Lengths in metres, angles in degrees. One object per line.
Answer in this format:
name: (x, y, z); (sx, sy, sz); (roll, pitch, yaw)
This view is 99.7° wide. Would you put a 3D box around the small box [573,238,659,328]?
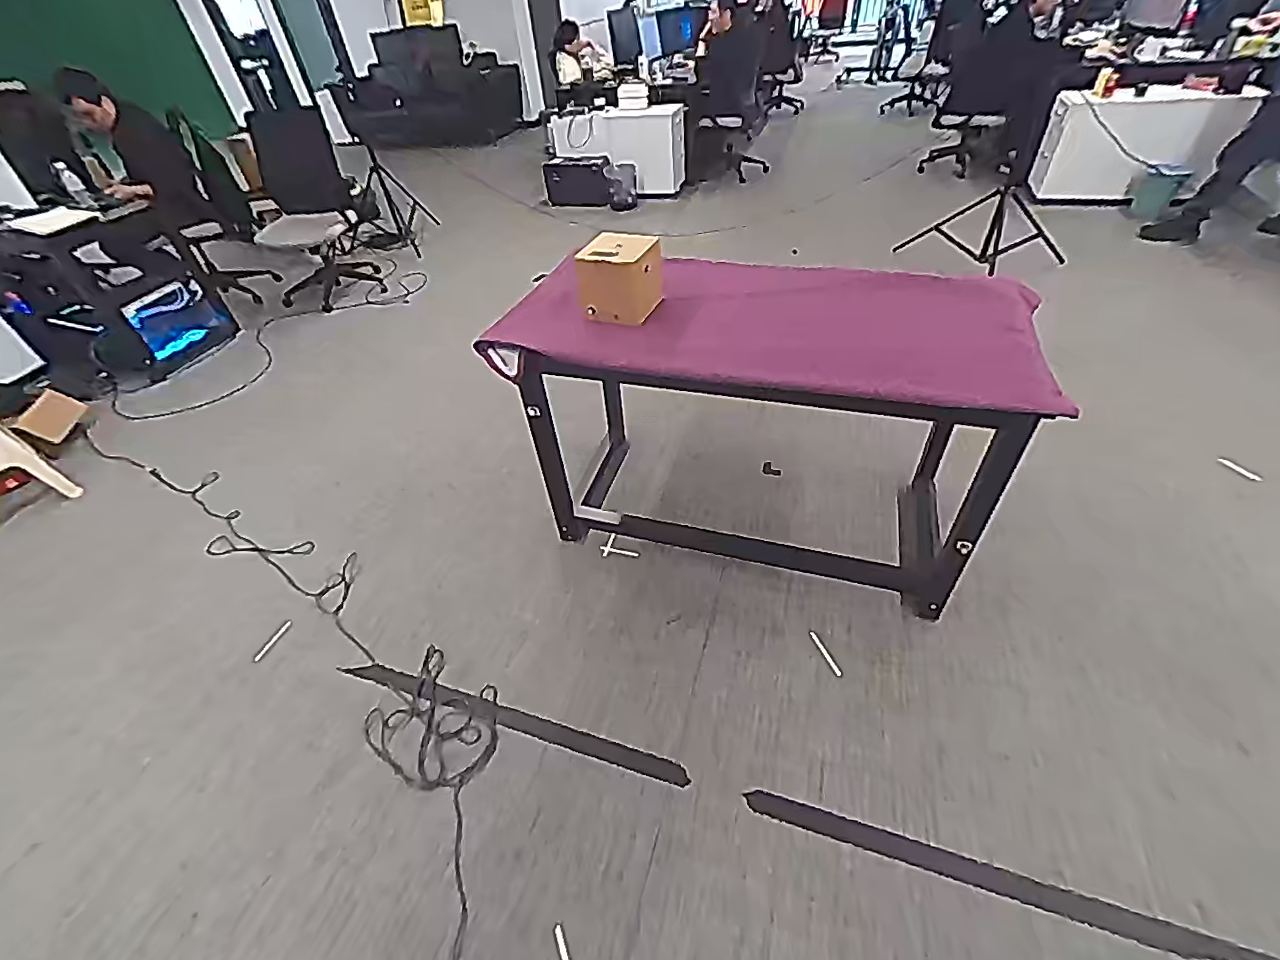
small box: (-0.054, -0.518, 1.424); (0.168, 0.176, 0.179); (14, 46, 20)
